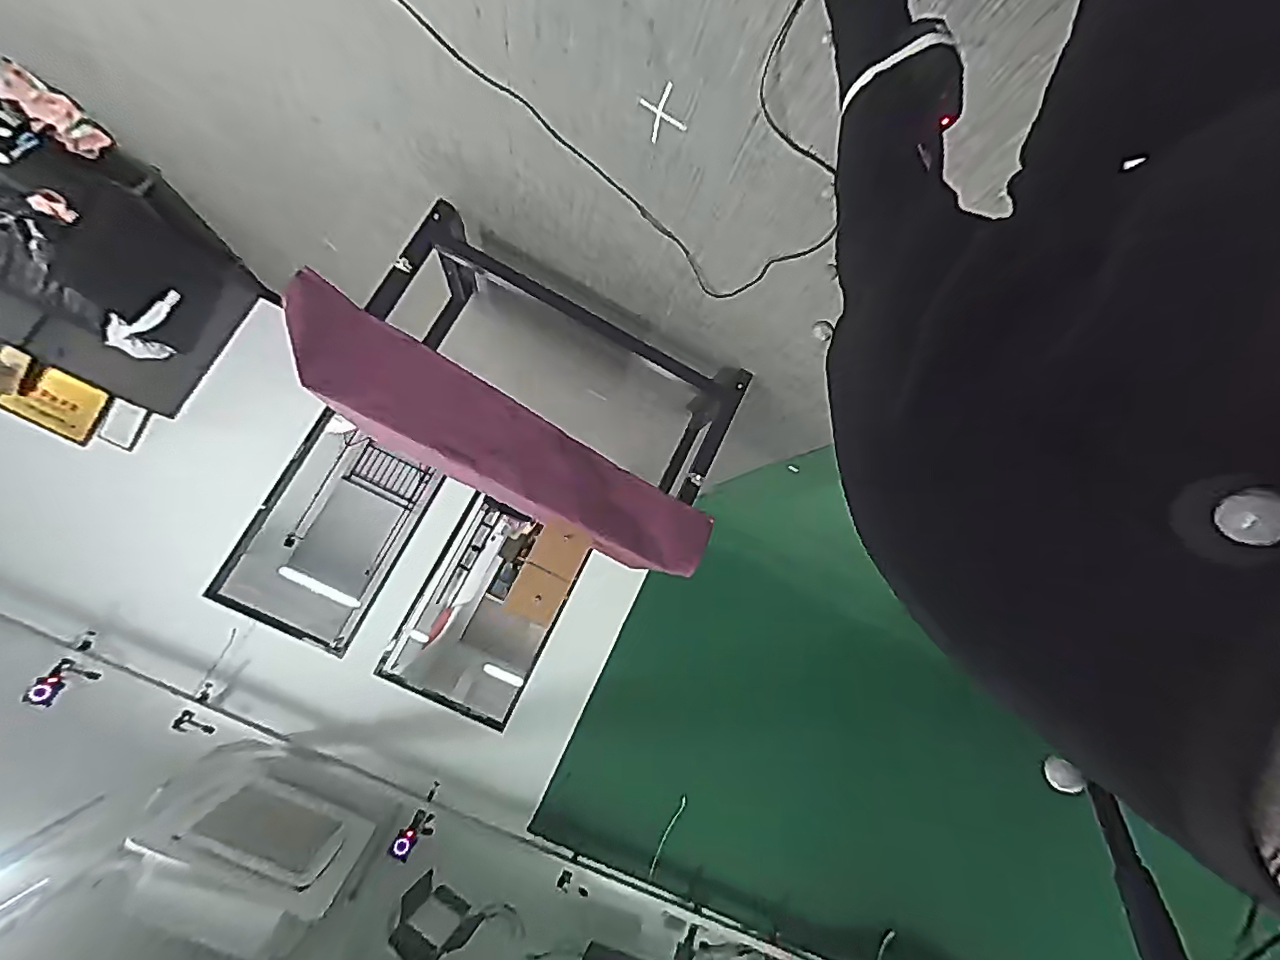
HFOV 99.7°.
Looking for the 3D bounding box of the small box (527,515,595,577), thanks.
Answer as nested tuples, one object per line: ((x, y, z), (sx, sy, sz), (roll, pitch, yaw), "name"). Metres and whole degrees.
((-0.280, 0.231, 1.913), (0.179, 0.176, 0.168), (28, 168, -4), "small box")

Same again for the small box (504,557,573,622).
((-0.353, 0.375, 1.878), (0.179, 0.176, 0.168), (27, 168, -5), "small box")
